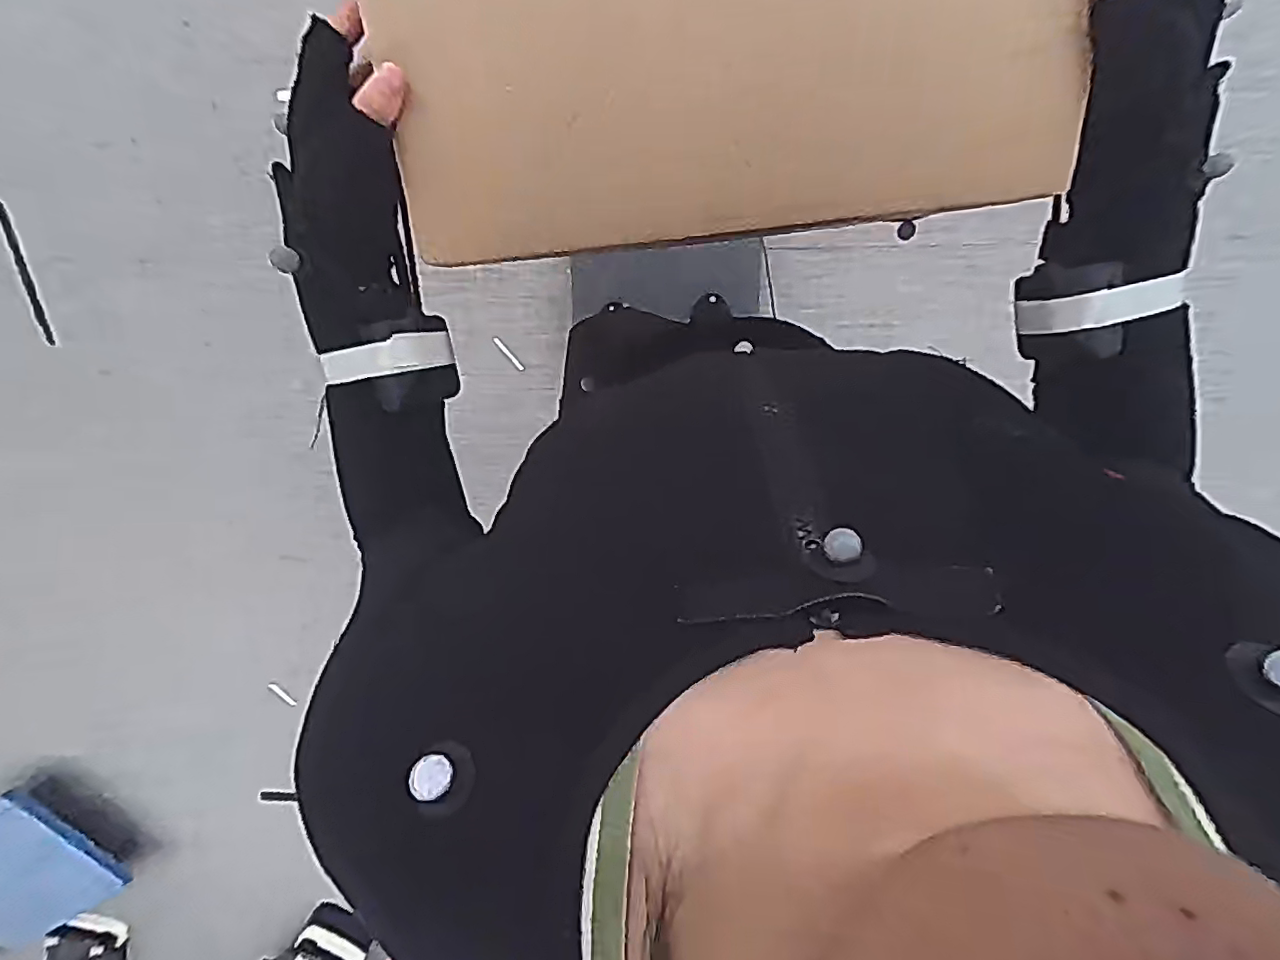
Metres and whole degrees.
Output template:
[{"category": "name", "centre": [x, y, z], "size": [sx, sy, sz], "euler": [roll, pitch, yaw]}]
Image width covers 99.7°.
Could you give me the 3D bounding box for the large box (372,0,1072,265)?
[{"category": "large box", "centre": [0.045, -0.362, 0.428], "size": [0.408, 0.320, 0.320], "euler": [-5, 113, 2]}]
